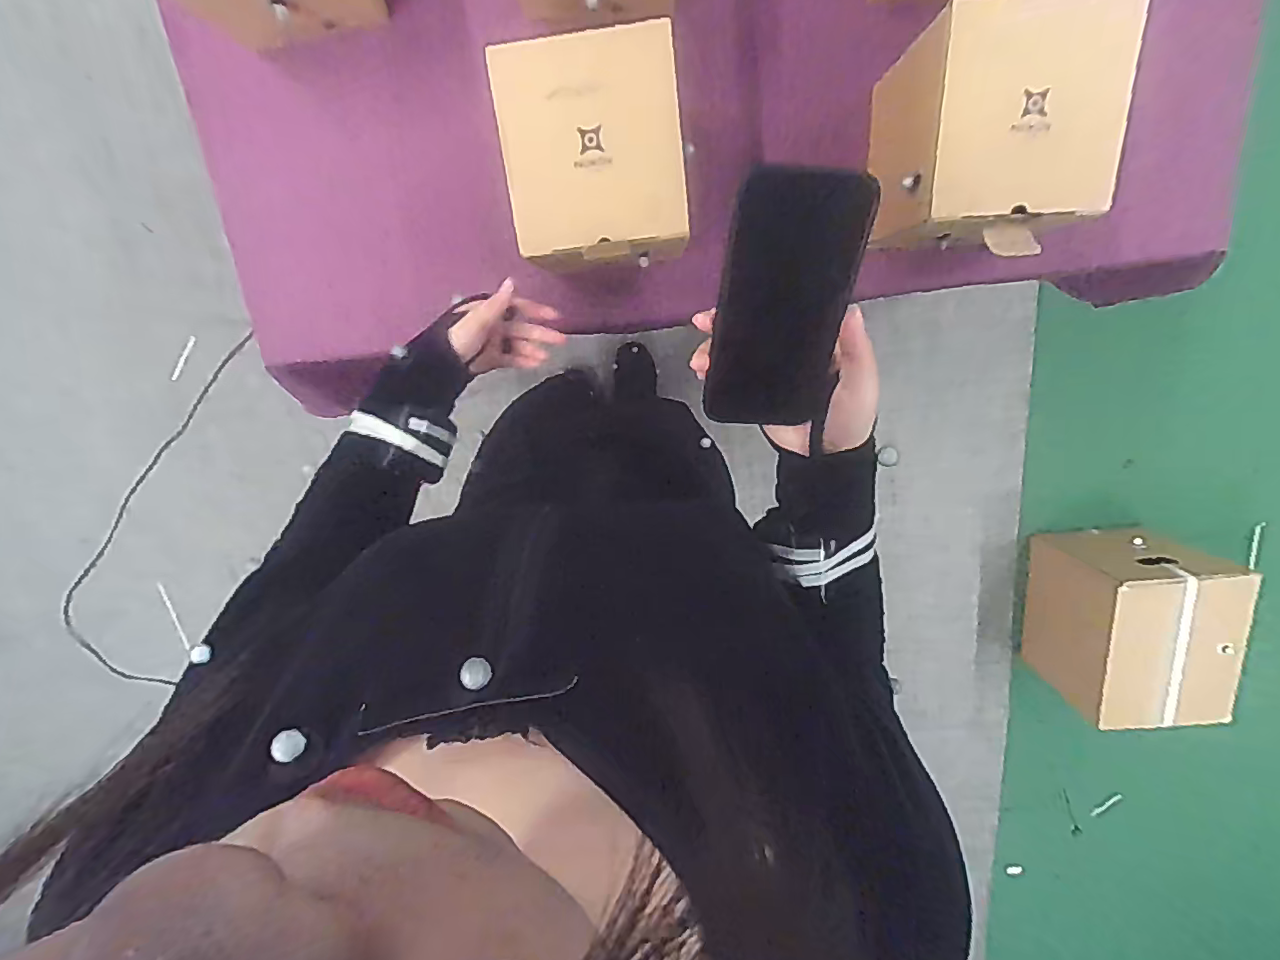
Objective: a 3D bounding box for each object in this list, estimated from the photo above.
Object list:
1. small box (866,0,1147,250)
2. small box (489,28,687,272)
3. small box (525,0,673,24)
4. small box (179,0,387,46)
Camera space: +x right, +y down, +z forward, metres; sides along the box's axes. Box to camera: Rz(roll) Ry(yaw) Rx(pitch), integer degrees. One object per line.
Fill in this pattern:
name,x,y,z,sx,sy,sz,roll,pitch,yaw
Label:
small box,0.347,-0.343,0.553,0.168,0.176,0.179,-1,106,2
small box,-0.041,-0.322,0.570,0.168,0.176,0.179,-6,105,3
small box,-0.047,-0.569,0.497,0.168,0.176,0.179,1,107,2
small box,-0.372,-0.552,0.510,0.168,0.176,0.179,-10,106,4
